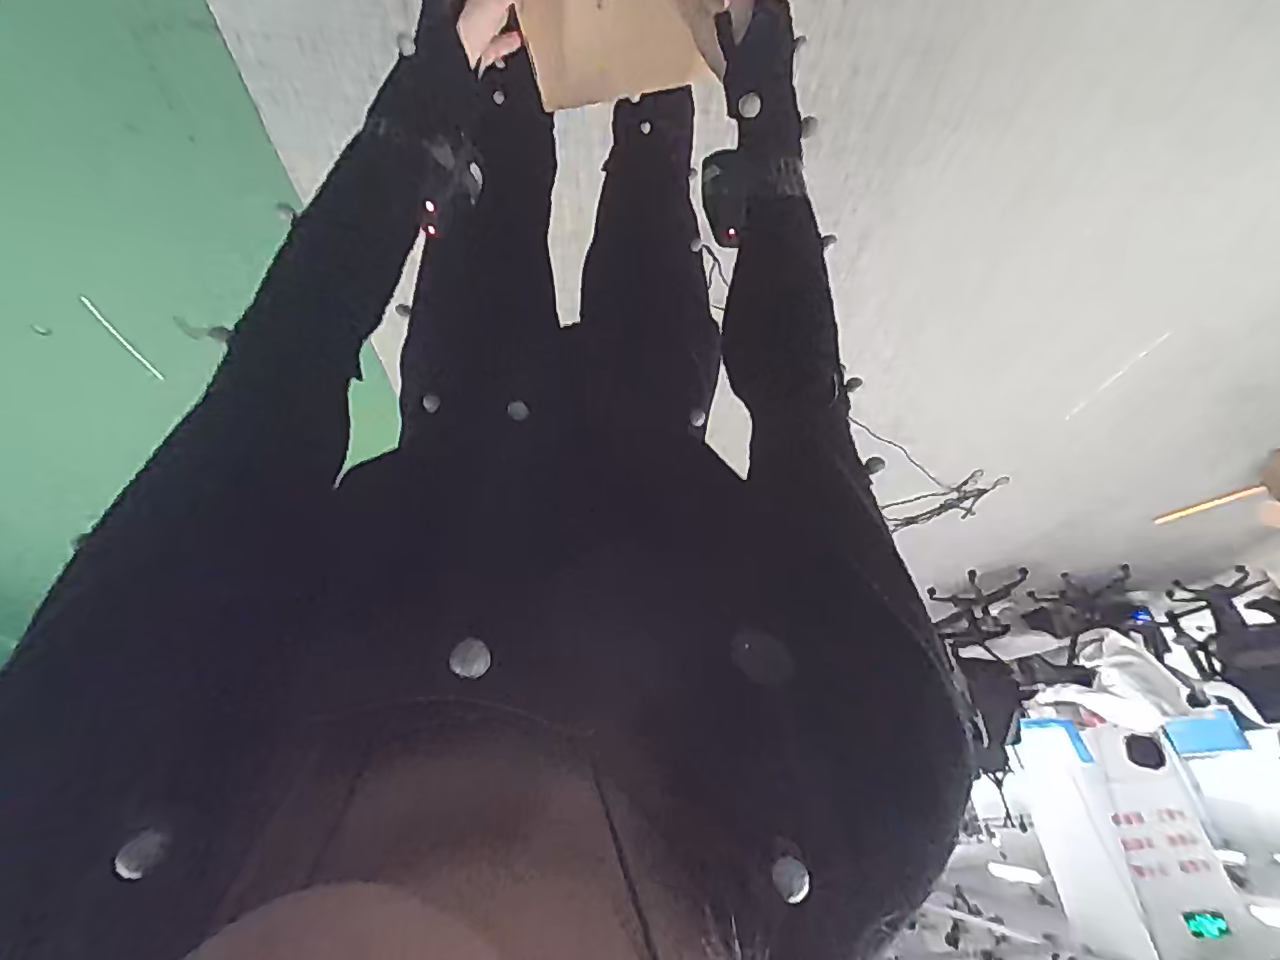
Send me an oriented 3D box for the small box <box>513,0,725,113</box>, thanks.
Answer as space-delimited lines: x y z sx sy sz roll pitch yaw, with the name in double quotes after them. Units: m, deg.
-0.016 -0.466 0.490 0.179 0.176 0.168 -4 141 10 "small box"
